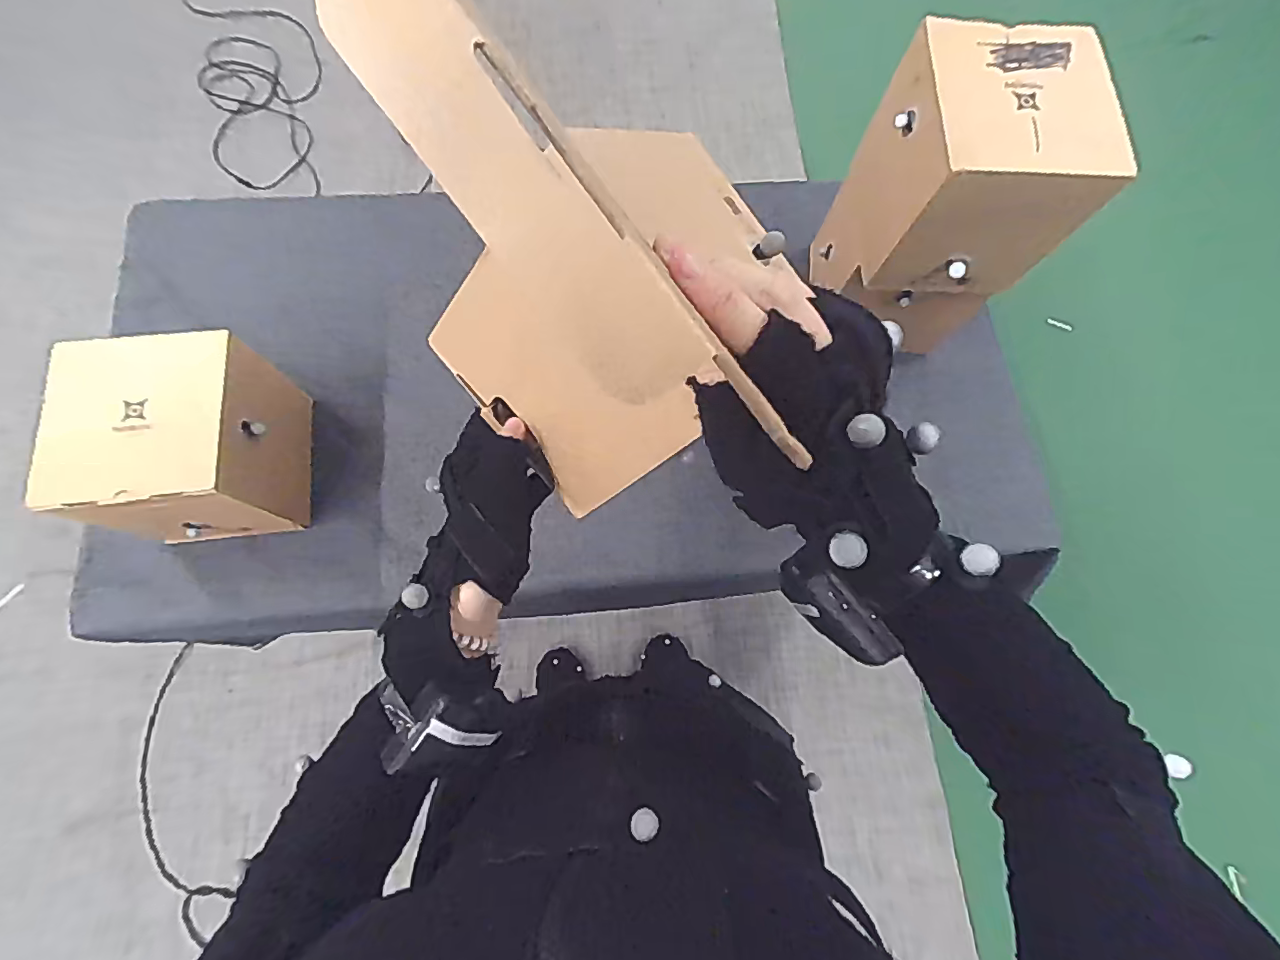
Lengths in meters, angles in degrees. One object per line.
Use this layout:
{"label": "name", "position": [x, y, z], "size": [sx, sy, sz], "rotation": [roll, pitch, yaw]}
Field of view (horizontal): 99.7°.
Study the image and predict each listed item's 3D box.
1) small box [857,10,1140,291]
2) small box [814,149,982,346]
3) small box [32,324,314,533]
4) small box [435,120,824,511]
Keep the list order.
{"label": "small box", "position": [0.338, -0.321, 0.551], "size": [0.168, 0.176, 0.179], "rotation": [1, 75, -2]}
{"label": "small box", "position": [0.339, -0.294, 0.715], "size": [0.179, 0.176, 0.168], "rotation": [7, 75, -1]}
{"label": "small box", "position": [-0.490, -0.048, 0.601], "size": [0.168, 0.176, 0.179], "rotation": [-6, 75, -5]}
{"label": "small box", "position": [0.000, -0.111, 0.380], "size": [0.168, 0.179, 0.176], "rotation": [51, 41, -6]}
